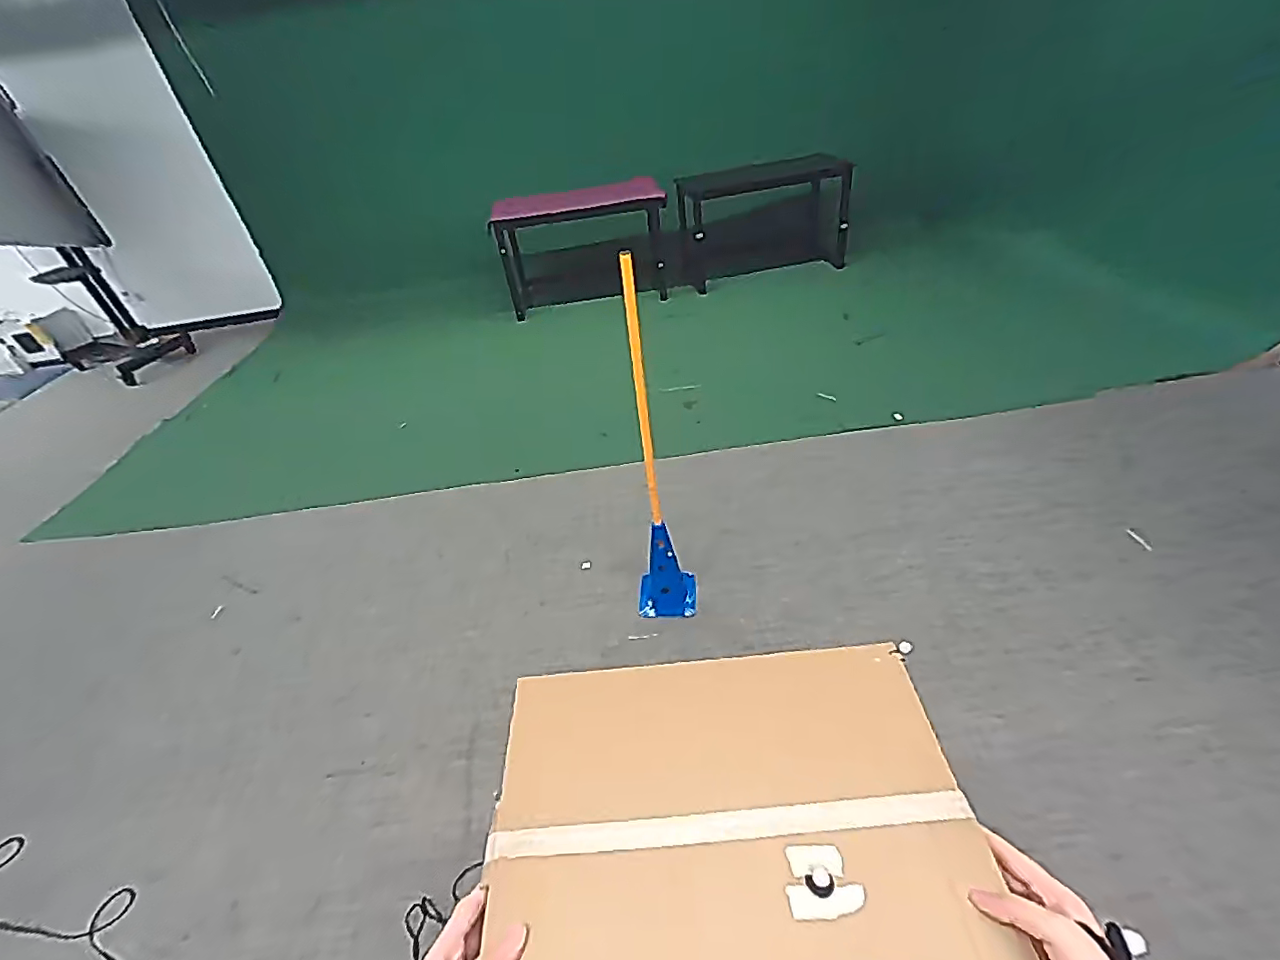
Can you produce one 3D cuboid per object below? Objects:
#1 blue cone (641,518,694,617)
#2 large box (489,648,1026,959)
[{"bbox_3d":[0.079,0.290,1.861,0.193,0.380,0.192,-2,37,8],"label":"blue cone"},{"bbox_3d":[0.088,0.412,0.565,0.408,0.320,0.320,-5,41,1],"label":"large box"}]
